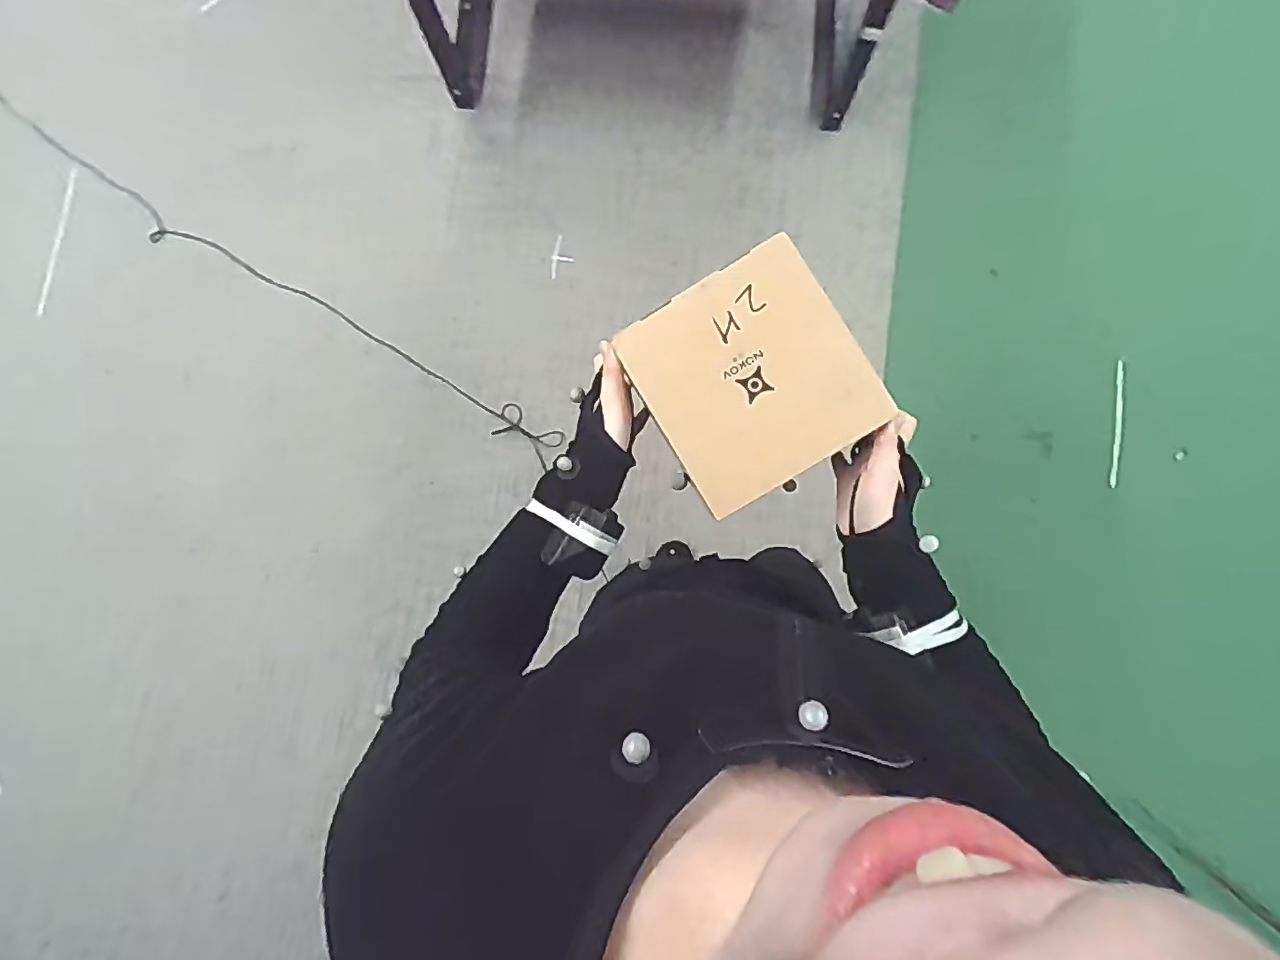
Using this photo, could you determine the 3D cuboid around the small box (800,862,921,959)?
[{"bbox_3d":[0.446,0.948,1.121,0.168,0.176,0.179,16,82,3],"label":"small box"}]
